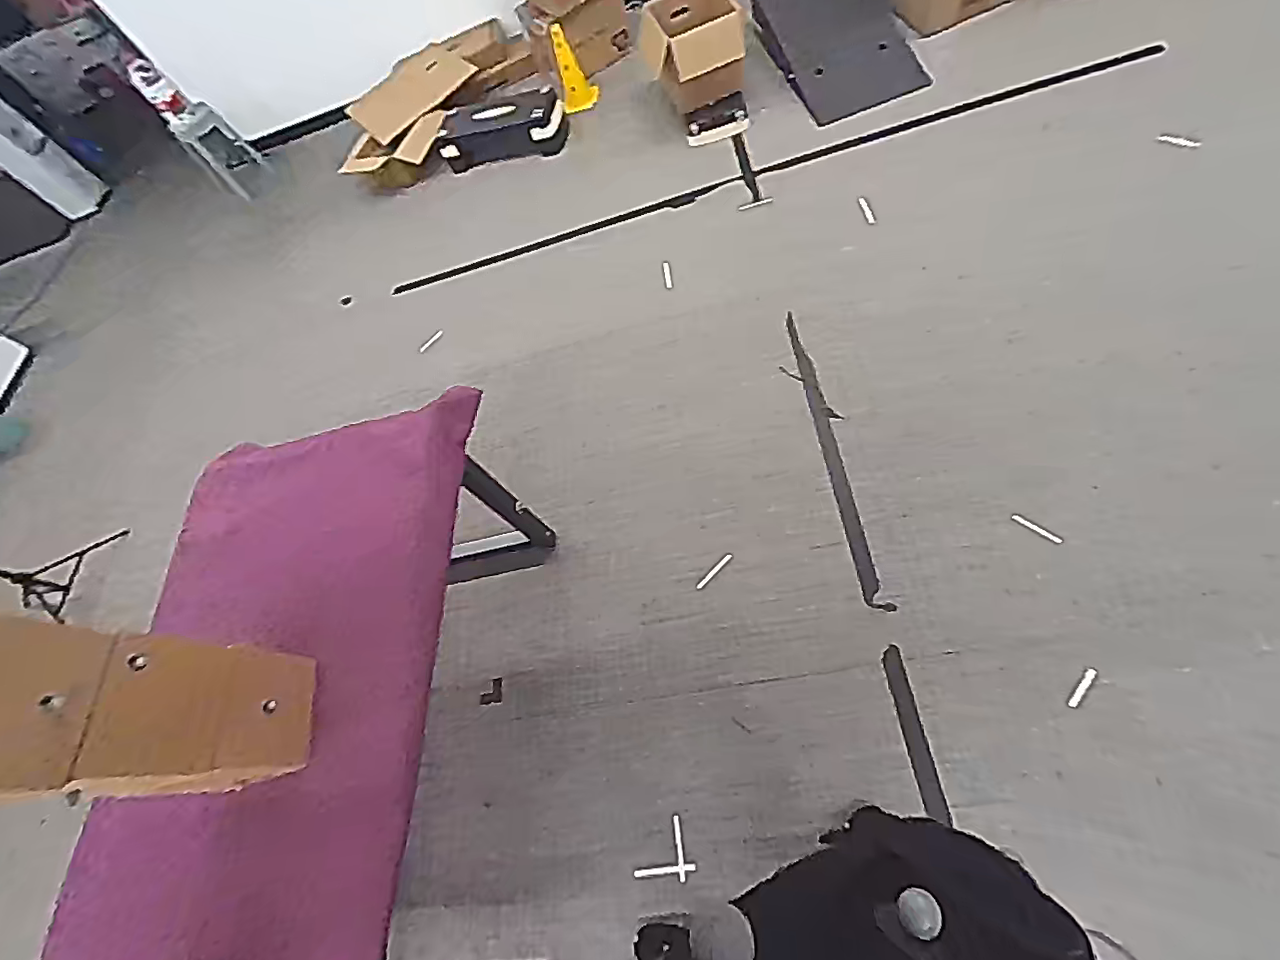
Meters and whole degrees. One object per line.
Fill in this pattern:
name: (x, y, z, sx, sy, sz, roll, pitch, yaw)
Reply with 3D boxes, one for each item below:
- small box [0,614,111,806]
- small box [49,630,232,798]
small box: (-0.738, 0.251, 0.580, 0.168, 0.176, 0.179, -15, 59, 10)
small box: (-0.697, 0.318, 0.724, 0.168, 0.176, 0.179, -15, 60, 10)
